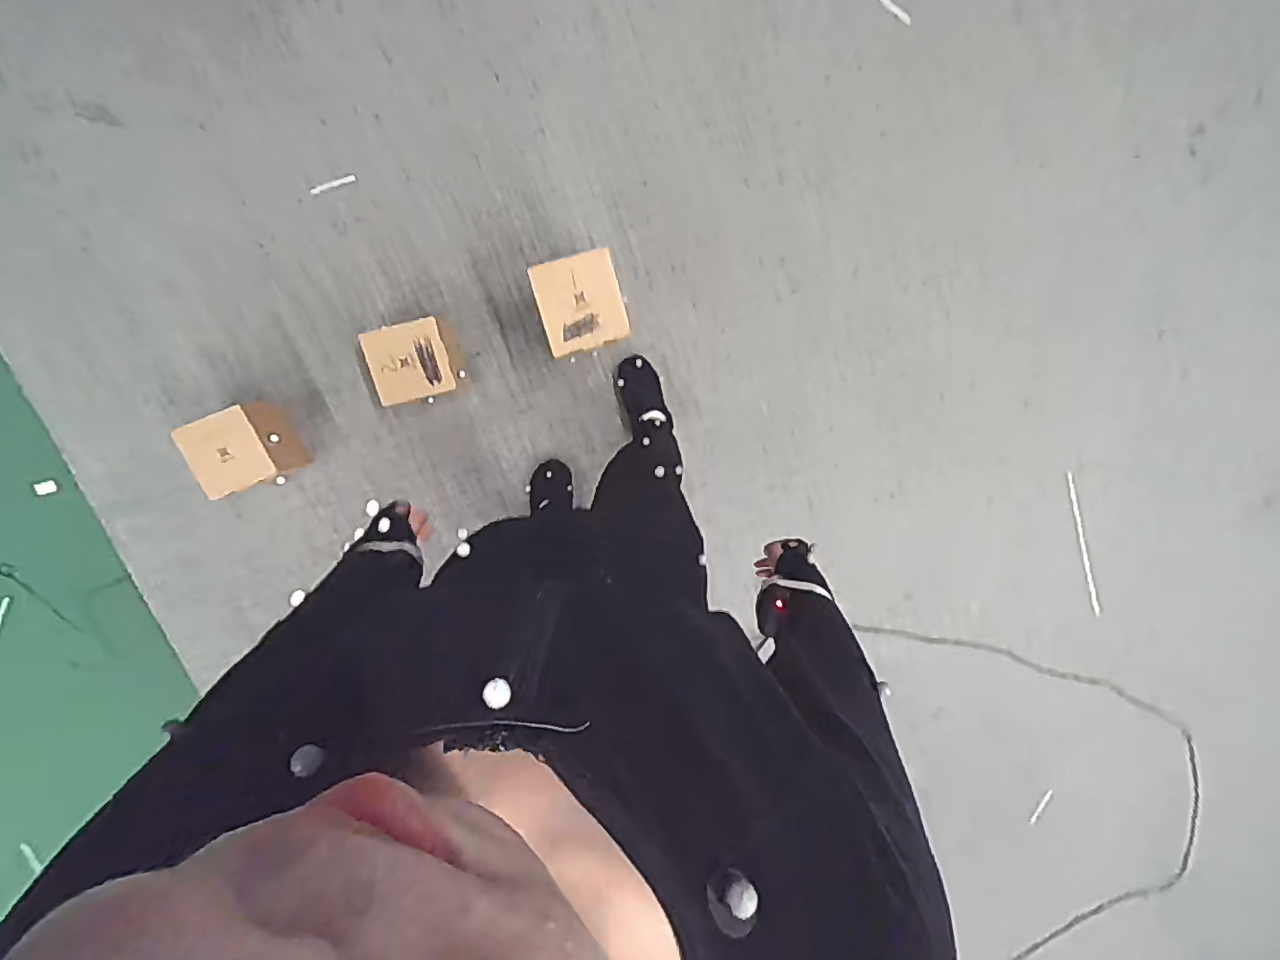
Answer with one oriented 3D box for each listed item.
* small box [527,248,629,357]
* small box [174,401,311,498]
[{"bbox_3d":[-0.125,-0.364,1.142,0.168,0.176,0.179,-16,101,-2],"label":"small box"},{"bbox_3d":[-0.935,-0.080,1.293,0.168,0.176,0.179,-22,101,-2],"label":"small box"}]
